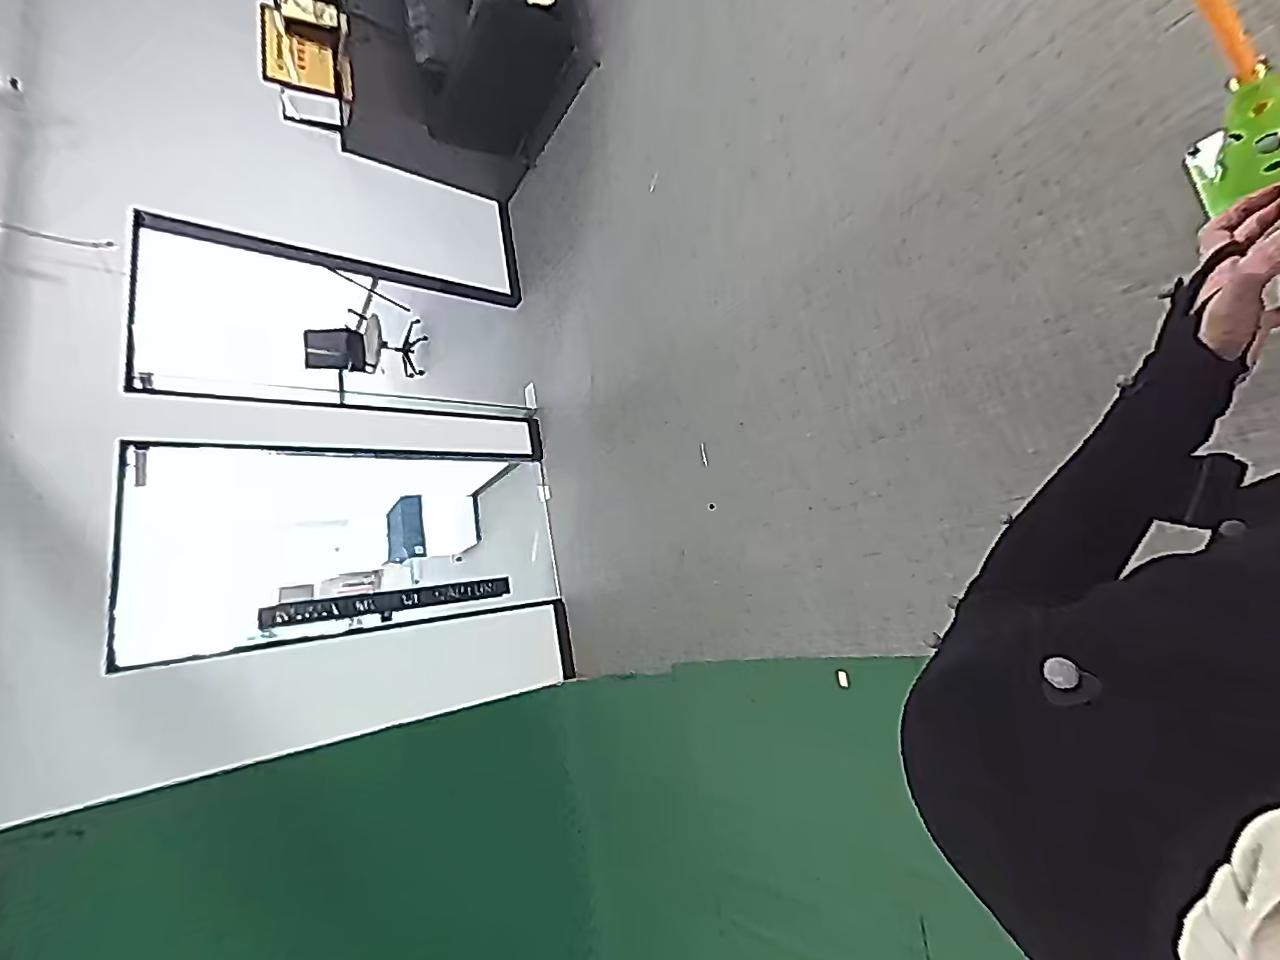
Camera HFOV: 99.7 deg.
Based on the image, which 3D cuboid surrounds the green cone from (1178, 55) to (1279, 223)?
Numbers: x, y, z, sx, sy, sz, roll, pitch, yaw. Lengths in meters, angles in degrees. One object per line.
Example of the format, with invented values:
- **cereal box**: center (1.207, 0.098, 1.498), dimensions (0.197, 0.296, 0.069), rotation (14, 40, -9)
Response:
- **green cone**: center (1.112, -0.652, 0.978), dimensions (0.202, 0.368, 0.200), rotation (-24, 72, 48)
